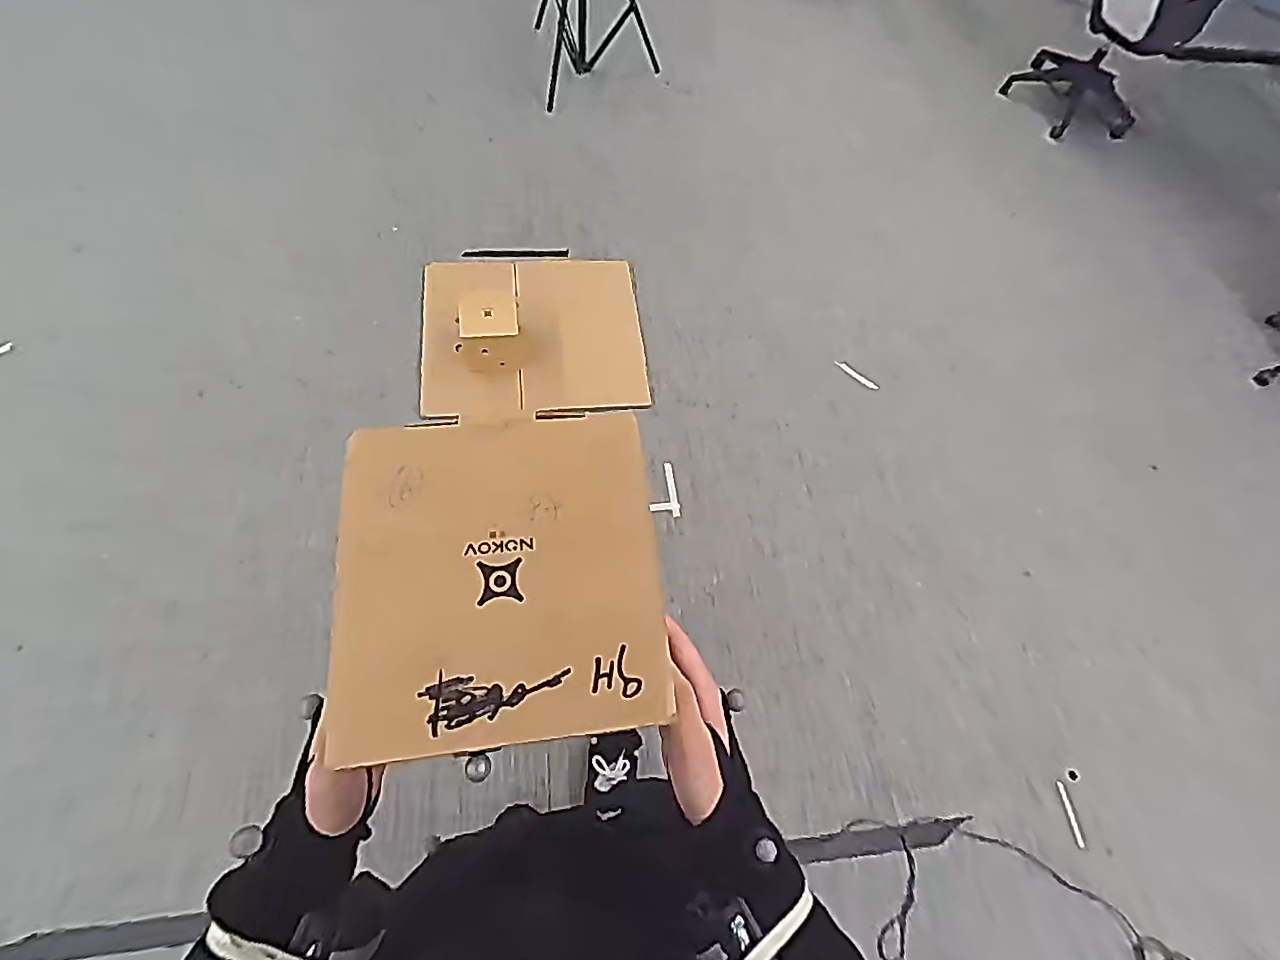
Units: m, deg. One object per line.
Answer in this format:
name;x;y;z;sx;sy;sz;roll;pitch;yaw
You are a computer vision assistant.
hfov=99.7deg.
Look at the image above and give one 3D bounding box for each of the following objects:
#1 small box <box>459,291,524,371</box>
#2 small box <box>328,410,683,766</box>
small box;-0.447;-0.446;1.641;0.168;0.176;0.179;-6;66;-10
small box;-0.074;0.075;0.355;0.168;0.176;0.179;-6;68;-6
